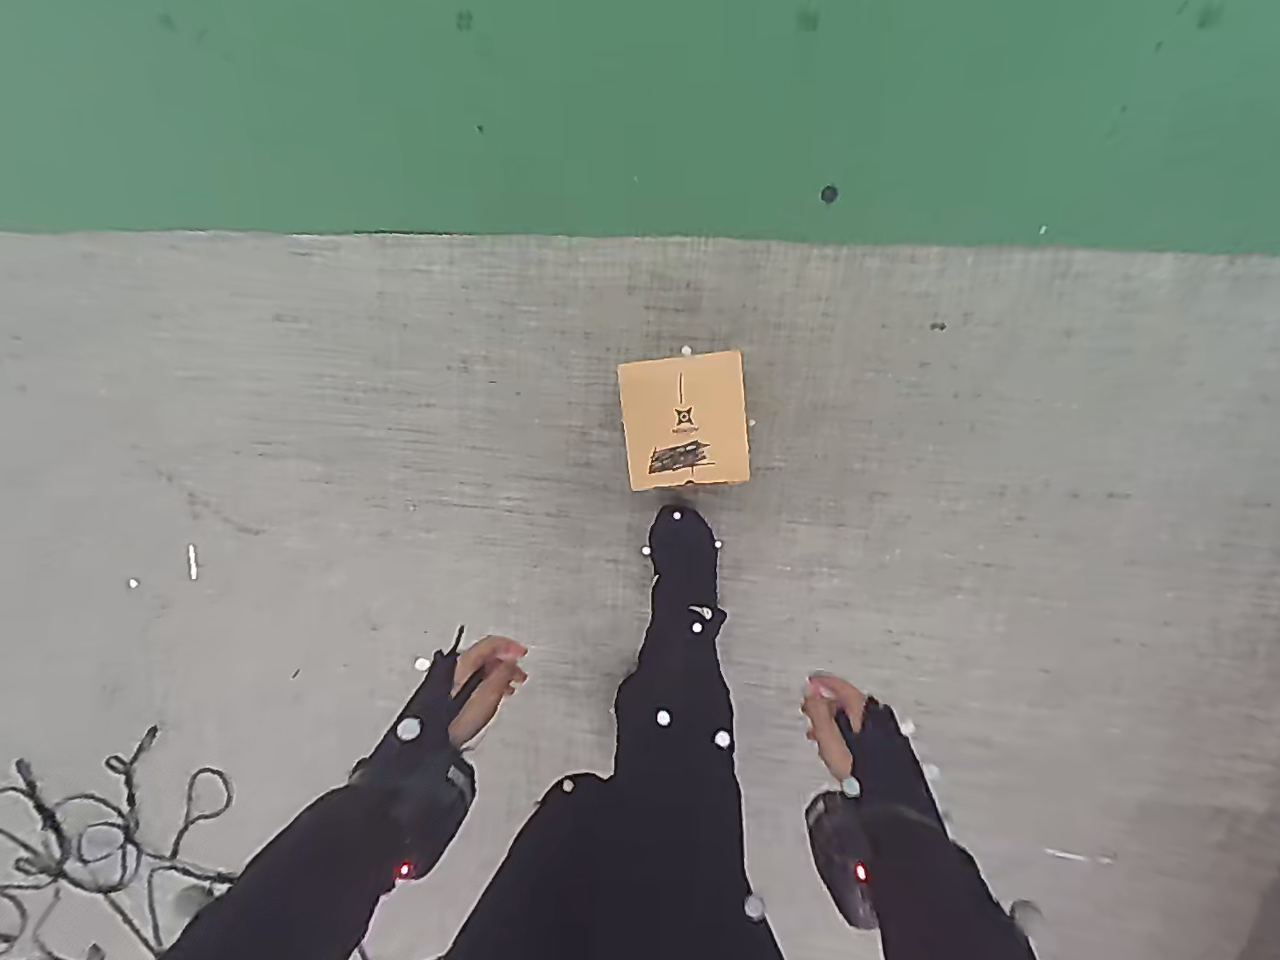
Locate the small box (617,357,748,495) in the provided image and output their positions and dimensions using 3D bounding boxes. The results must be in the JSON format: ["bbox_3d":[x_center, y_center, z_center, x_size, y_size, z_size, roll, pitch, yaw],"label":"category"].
[{"bbox_3d":[0.069,-0.084,0.802,0.168,0.176,0.179,-5,100,9],"label":"small box"}]
